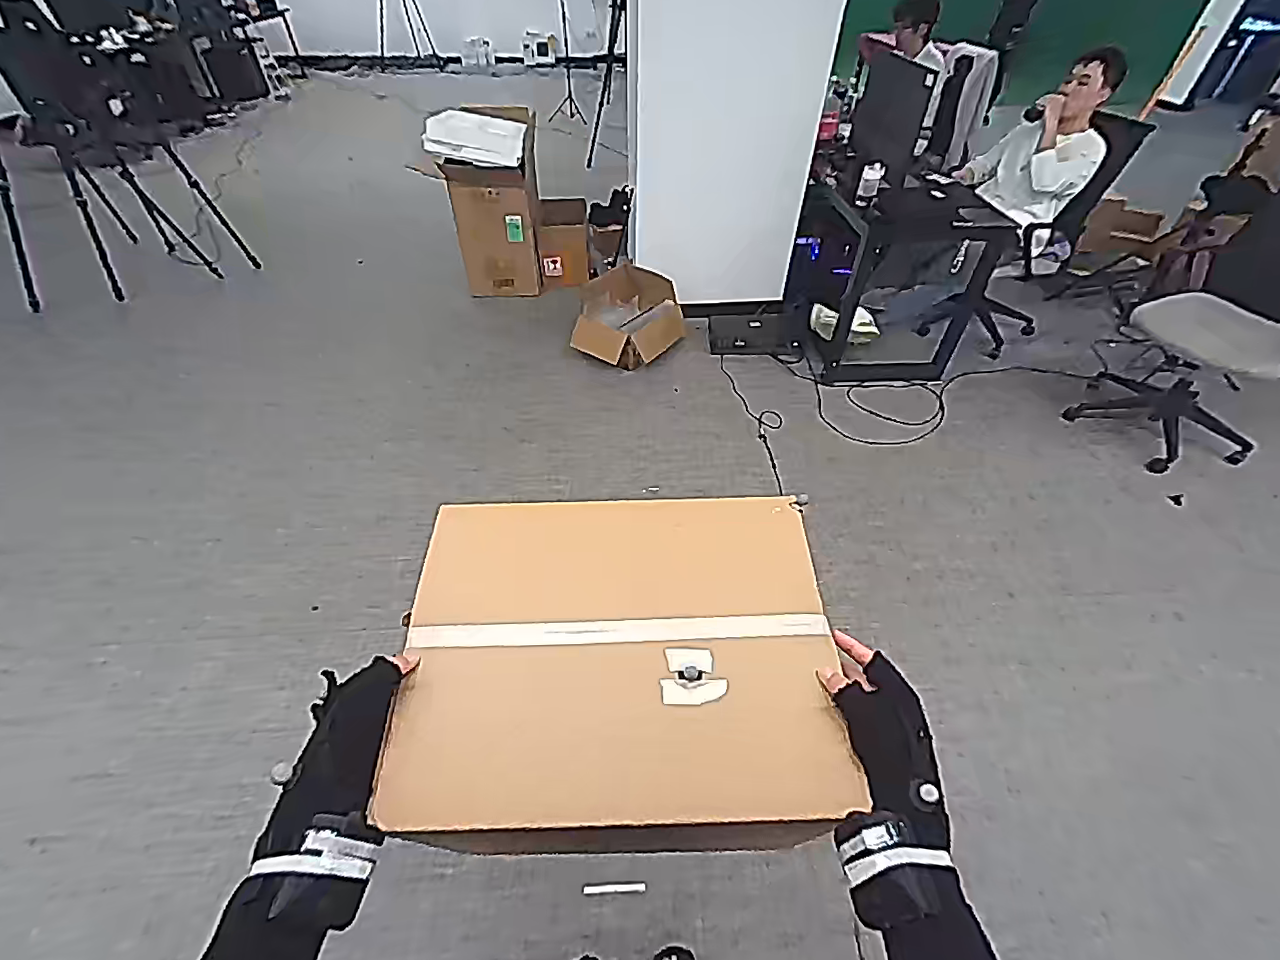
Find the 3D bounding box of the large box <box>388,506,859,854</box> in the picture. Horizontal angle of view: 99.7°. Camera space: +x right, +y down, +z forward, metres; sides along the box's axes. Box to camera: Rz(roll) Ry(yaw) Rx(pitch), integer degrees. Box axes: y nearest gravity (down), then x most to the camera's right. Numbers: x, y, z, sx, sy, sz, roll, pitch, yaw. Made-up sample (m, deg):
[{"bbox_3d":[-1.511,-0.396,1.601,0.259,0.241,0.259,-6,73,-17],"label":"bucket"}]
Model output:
[{"bbox_3d":[-0.018,0.249,0.656,0.408,0.320,0.320,-1,53,-1],"label":"large box"}]
